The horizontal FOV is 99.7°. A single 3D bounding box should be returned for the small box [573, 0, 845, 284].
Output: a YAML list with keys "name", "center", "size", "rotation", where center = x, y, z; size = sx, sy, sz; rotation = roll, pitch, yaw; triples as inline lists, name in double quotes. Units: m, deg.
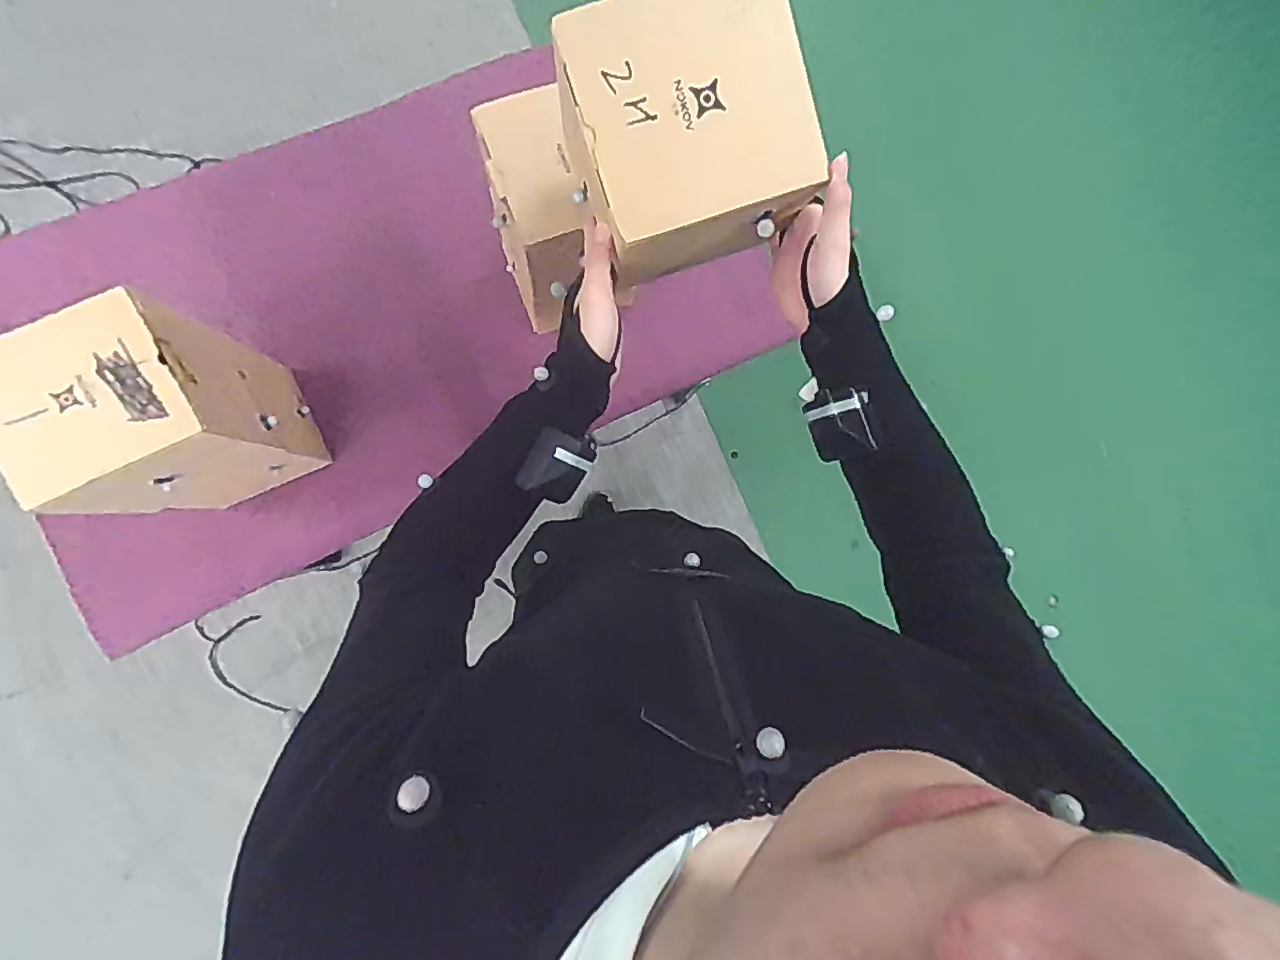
- name: "small box"
  center: [0.048, -0.292, 0.479]
  size: [0.179, 0.176, 0.168]
  rotation: [-18, 99, -2]

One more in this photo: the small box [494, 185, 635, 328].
- name: "small box"
  center: [-0.108, -0.358, 0.836]
  size: [0.179, 0.176, 0.168]
  rotation: [-21, 91, -7]

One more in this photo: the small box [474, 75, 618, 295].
- name: "small box"
  center: [-0.081, -0.355, 0.674]
  size: [0.179, 0.176, 0.168]
  rotation: [-21, 91, -7]

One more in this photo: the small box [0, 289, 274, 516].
- name: "small box"
  center: [-0.545, -0.073, 0.591]
  size: [0.179, 0.176, 0.168]
  rotation: [-28, 91, -8]
